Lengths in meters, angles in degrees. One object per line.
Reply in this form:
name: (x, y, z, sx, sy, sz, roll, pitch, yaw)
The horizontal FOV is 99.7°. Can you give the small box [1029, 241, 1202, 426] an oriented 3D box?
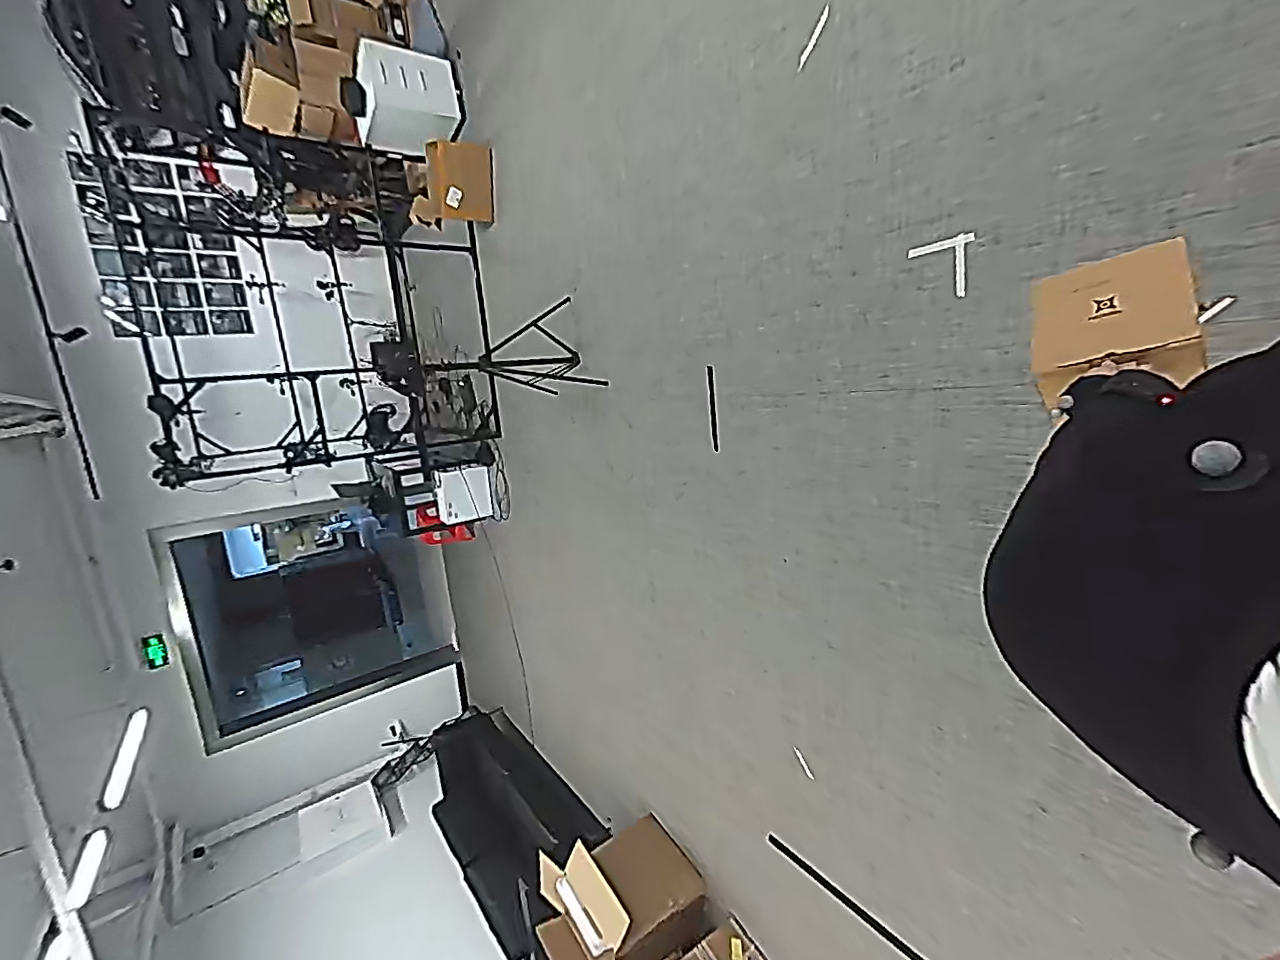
small box: (0.674, -0.192, 0.772, 0.168, 0.176, 0.179, -8, 55, 44)
